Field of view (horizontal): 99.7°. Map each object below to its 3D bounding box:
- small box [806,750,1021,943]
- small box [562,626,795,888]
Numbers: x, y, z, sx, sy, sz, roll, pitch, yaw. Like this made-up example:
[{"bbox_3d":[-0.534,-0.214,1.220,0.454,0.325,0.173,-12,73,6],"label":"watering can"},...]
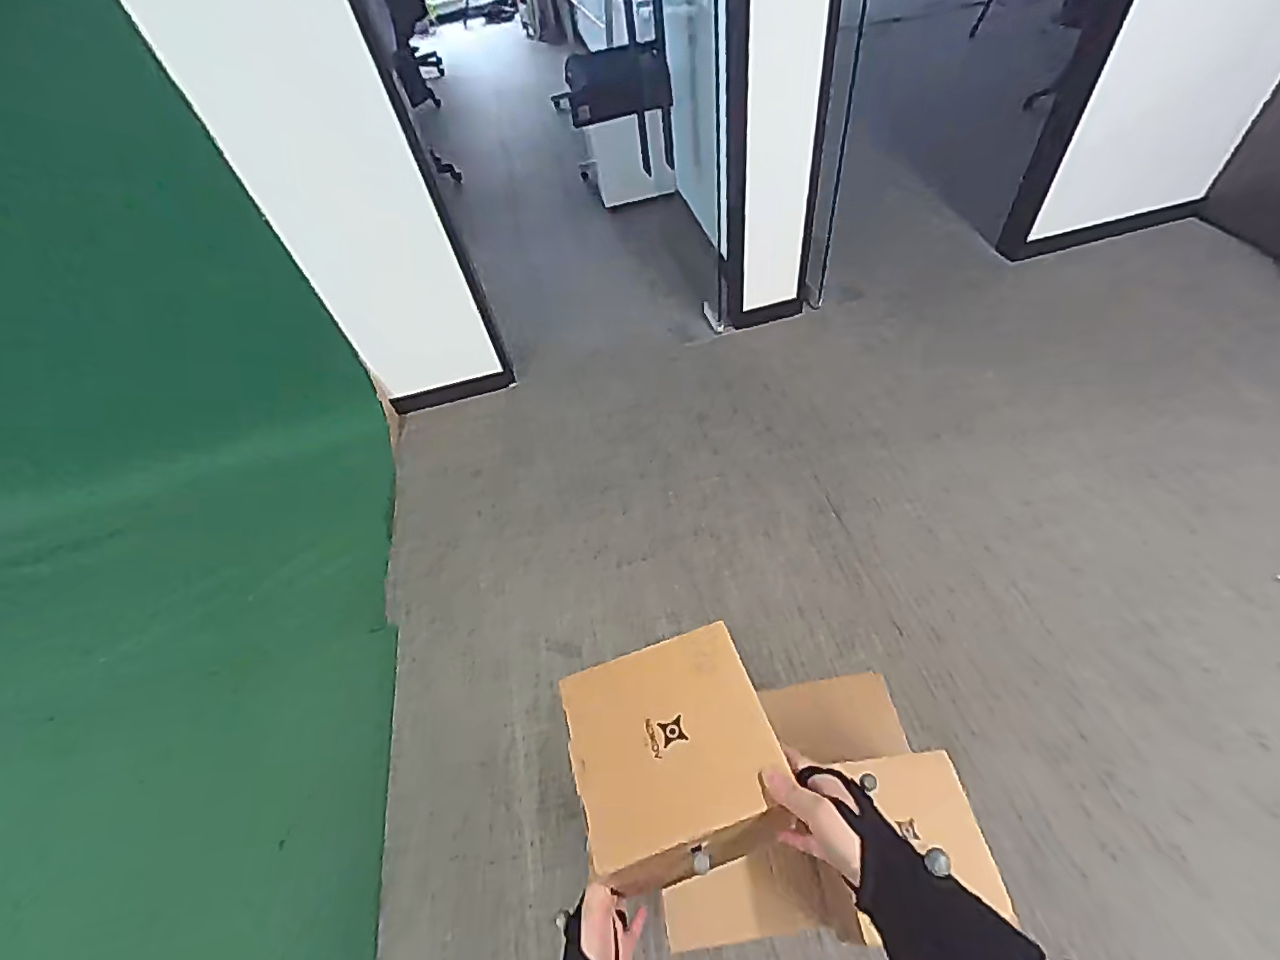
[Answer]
[{"bbox_3d":[0.320,0.463,0.681,0.168,0.176,0.179,-9,50,2],"label":"small box"},{"bbox_3d":[0.037,0.281,0.546,0.179,0.176,0.168,-19,46,-3],"label":"small box"}]
